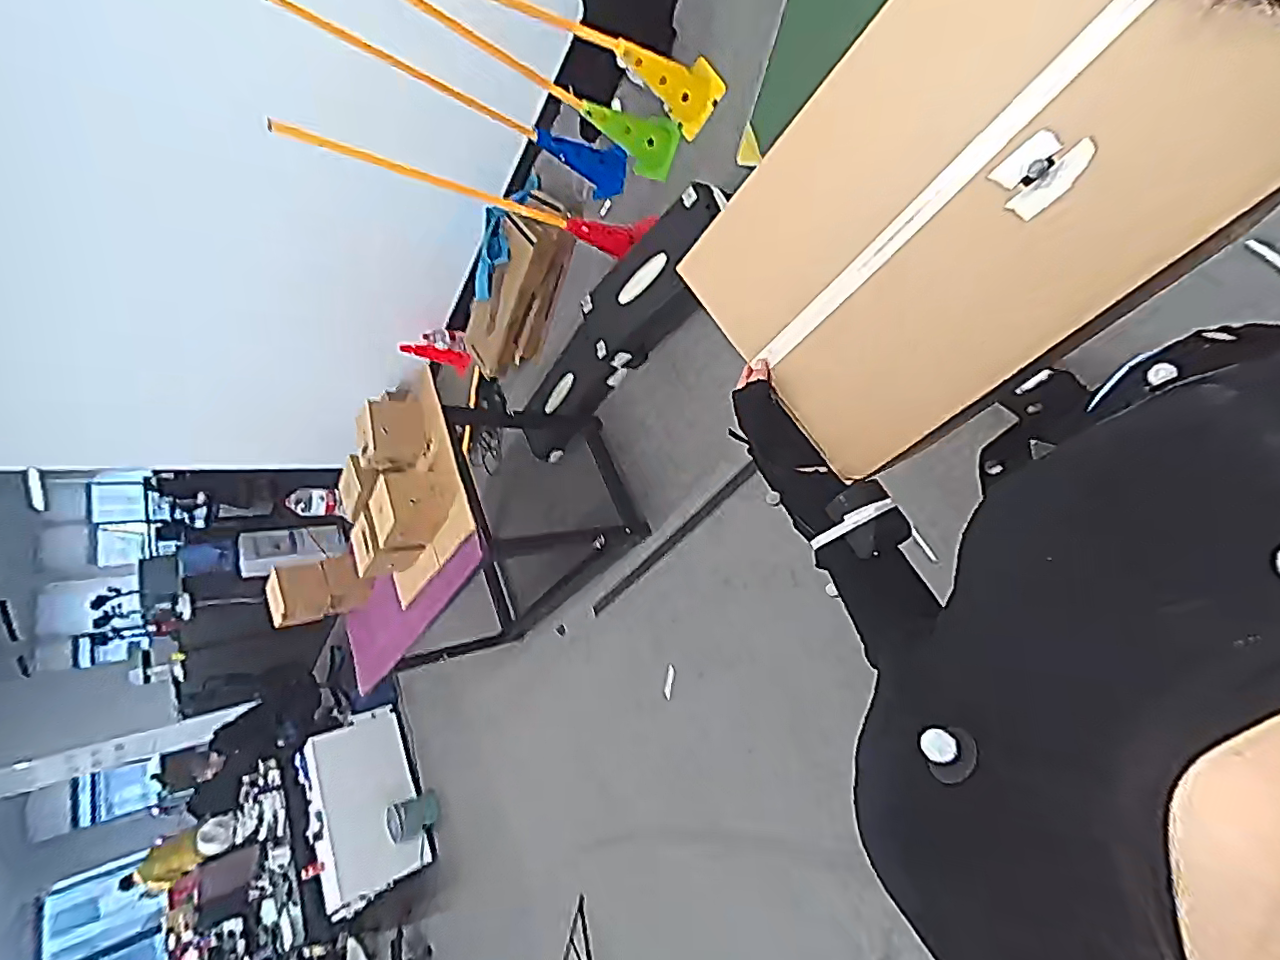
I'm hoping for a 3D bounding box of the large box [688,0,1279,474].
[{"bbox_3d":[0.338,-0.257,0.595,0.408,0.320,0.320,-44,72,33],"label":"large box"}]
